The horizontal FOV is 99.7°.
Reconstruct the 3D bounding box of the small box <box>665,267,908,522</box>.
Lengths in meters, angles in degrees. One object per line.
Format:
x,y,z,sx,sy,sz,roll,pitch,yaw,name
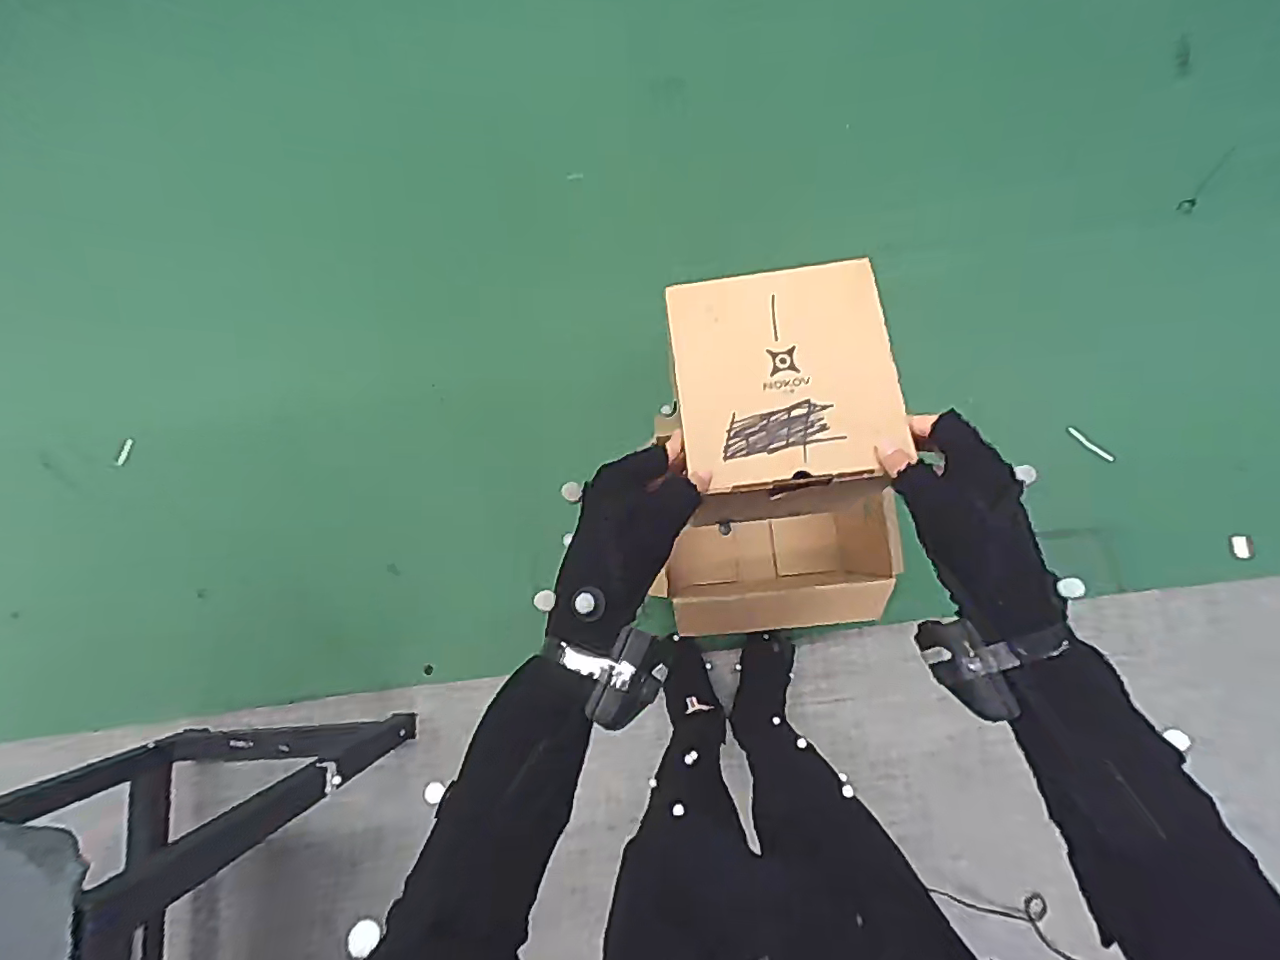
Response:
0.117,-0.061,0.499,0.168,0.176,0.179,-7,75,4,small box
